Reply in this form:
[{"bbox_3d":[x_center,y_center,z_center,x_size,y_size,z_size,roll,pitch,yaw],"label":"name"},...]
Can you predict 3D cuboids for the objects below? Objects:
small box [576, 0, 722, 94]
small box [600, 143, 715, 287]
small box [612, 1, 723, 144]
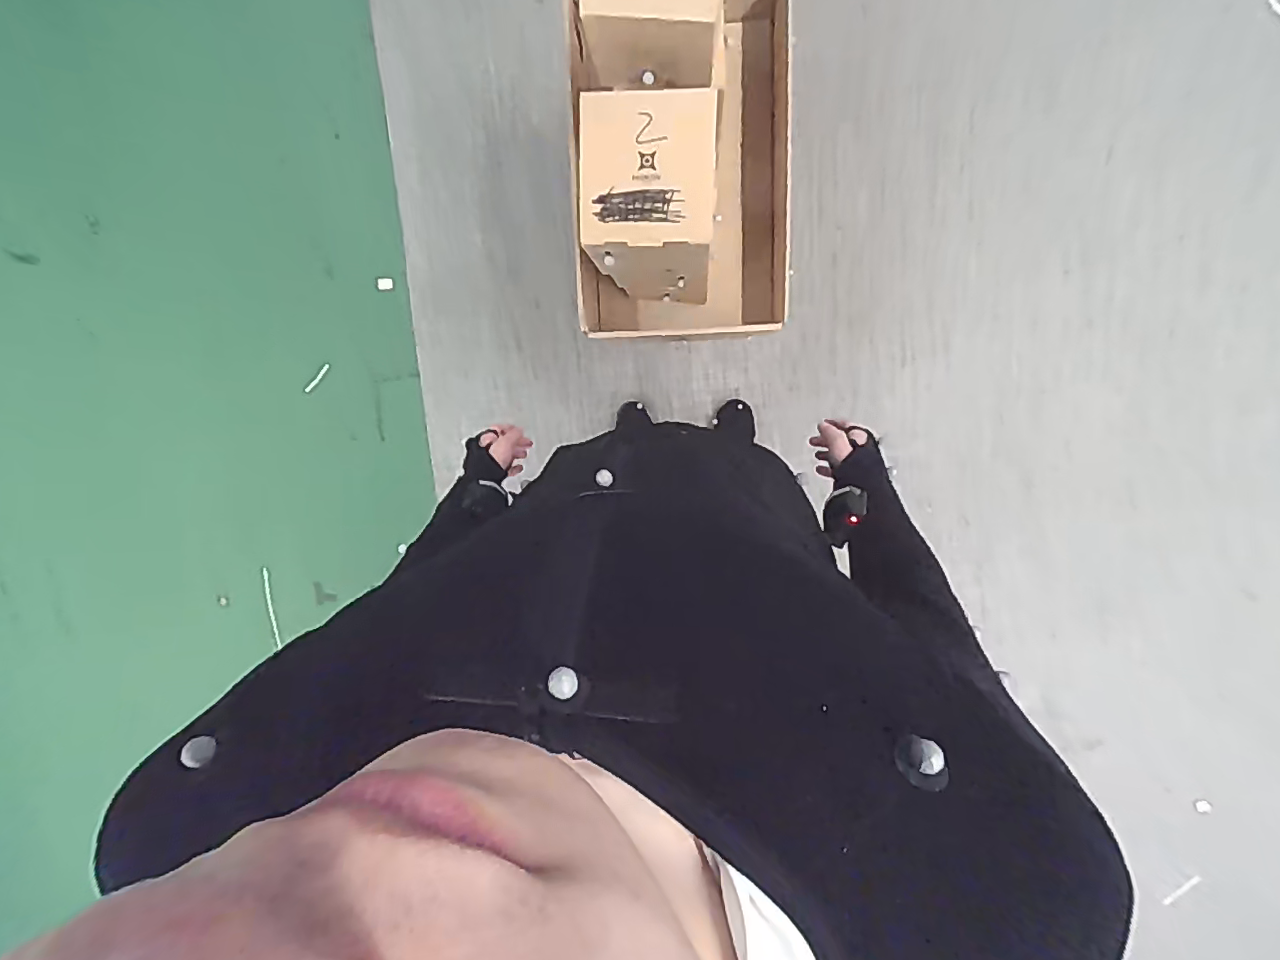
[{"bbox_3d":[0.021,-0.640,0.693,0.168,0.176,0.179,8,102,4],"label":"small box"},{"bbox_3d":[0.033,-0.423,0.889,0.168,0.176,0.179,4,98,5],"label":"small box"},{"bbox_3d":[0.043,-0.664,0.854,0.168,0.176,0.179,-2,101,6],"label":"small box"}]
